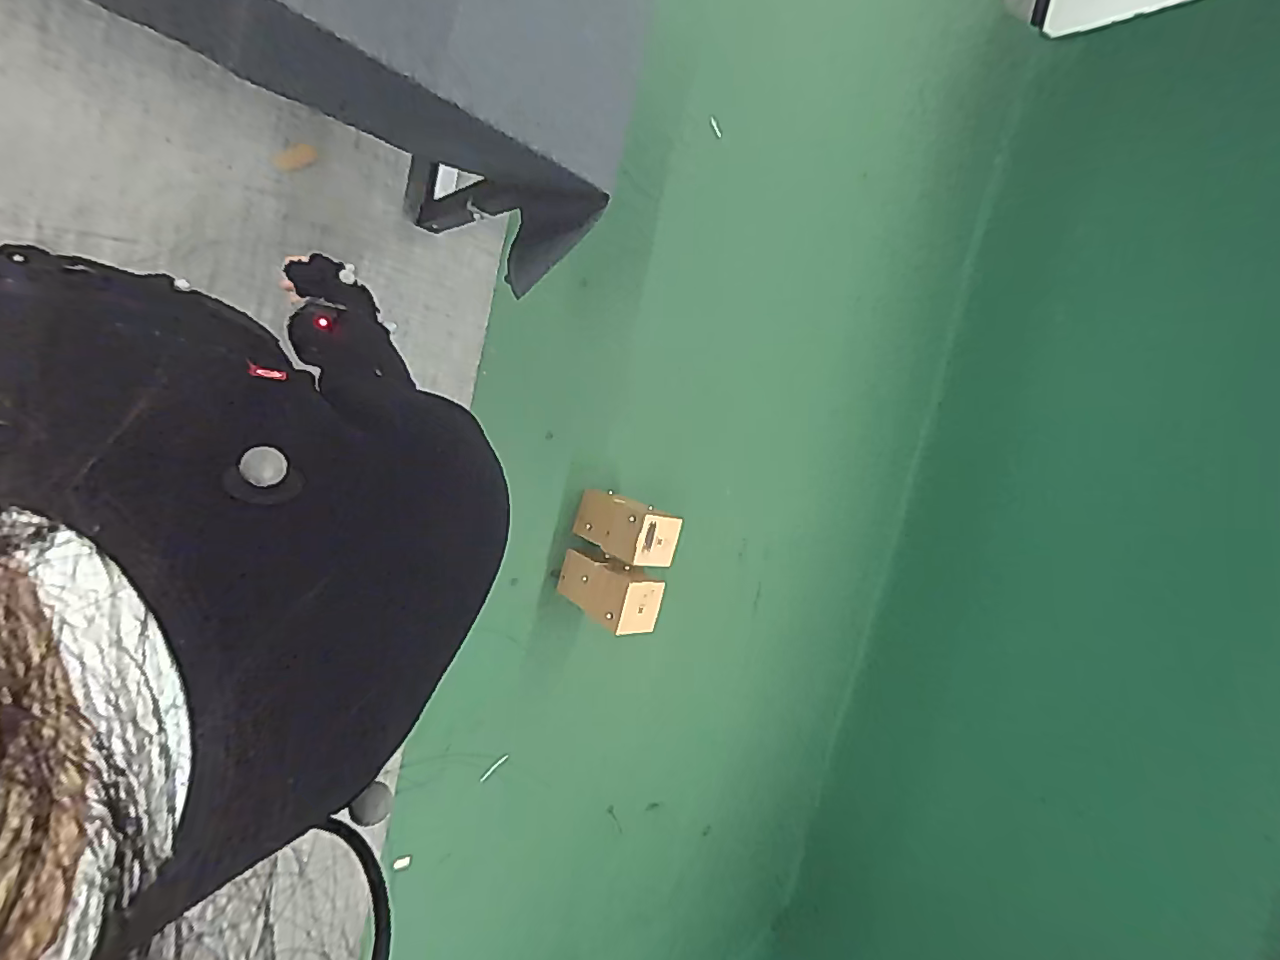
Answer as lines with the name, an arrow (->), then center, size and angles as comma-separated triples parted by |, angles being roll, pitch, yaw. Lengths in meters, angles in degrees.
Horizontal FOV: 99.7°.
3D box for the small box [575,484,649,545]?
small box -> -0.102, 0.117, 1.898 | 0.179, 0.176, 0.168 | 14, 94, -43
